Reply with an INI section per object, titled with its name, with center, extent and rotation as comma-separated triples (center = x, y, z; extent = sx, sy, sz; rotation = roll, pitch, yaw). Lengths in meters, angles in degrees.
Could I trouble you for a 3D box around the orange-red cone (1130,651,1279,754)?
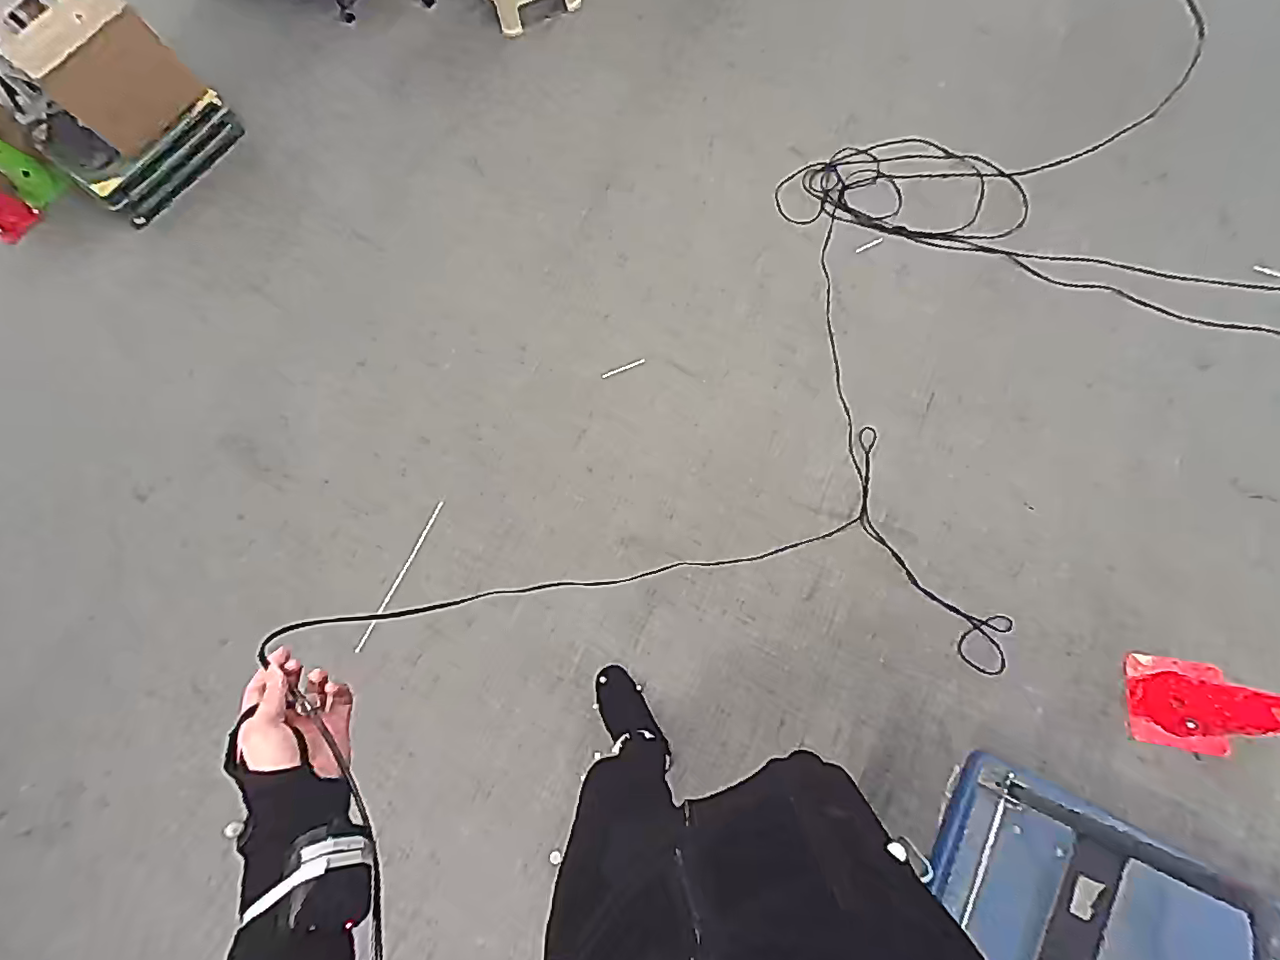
[orange-red cone]
center = 1.234, 0.459, 1.095
extent = 0.198, 0.360, 0.199
rotation = 9, 73, 9
